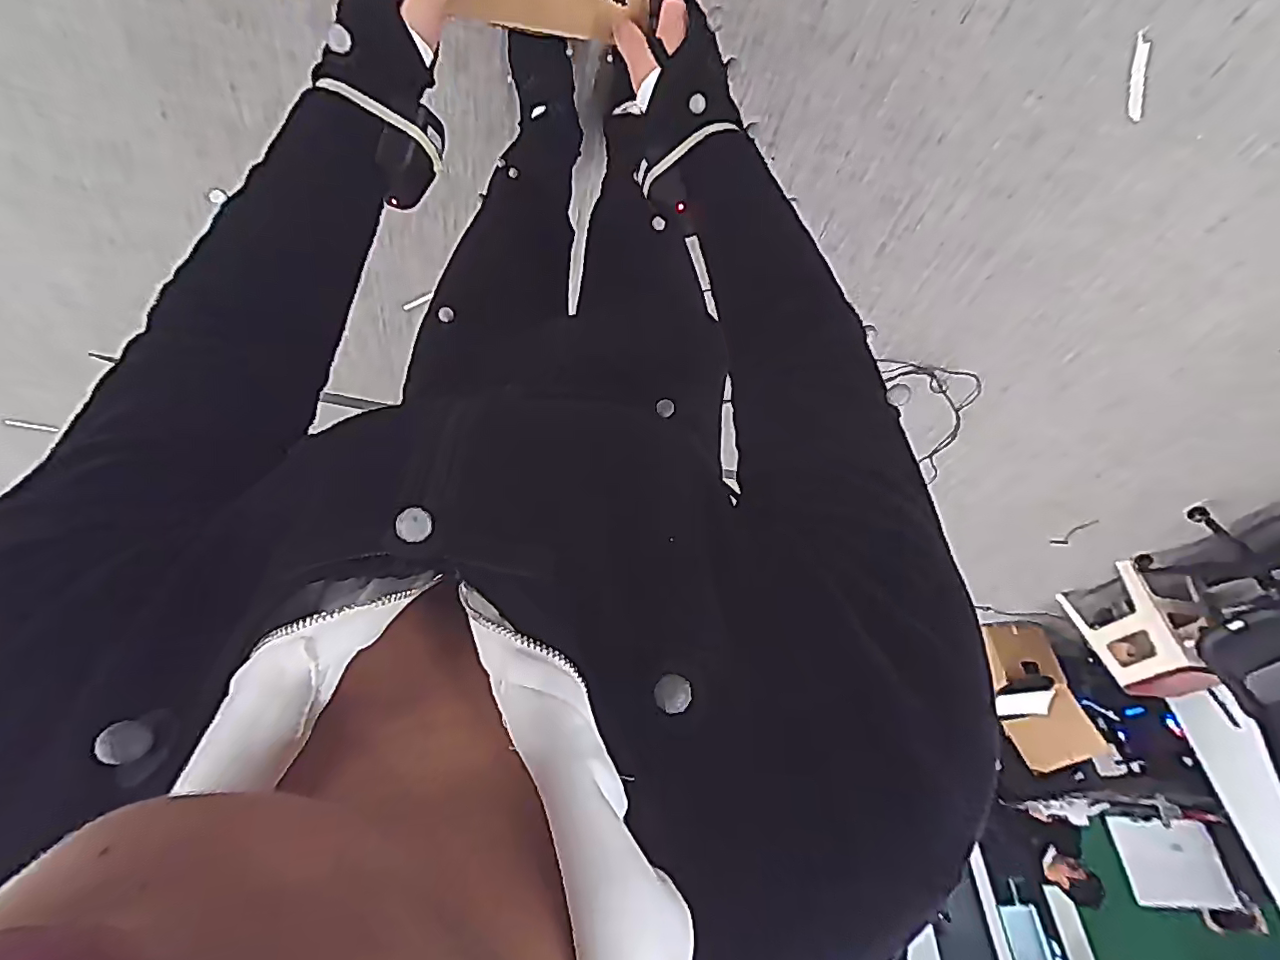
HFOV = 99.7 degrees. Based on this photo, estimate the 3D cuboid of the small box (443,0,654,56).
[{"bbox_3d":[-0.068,-0.495,0.451,0.179,0.176,0.168,5,144,-6],"label":"small box"}]
